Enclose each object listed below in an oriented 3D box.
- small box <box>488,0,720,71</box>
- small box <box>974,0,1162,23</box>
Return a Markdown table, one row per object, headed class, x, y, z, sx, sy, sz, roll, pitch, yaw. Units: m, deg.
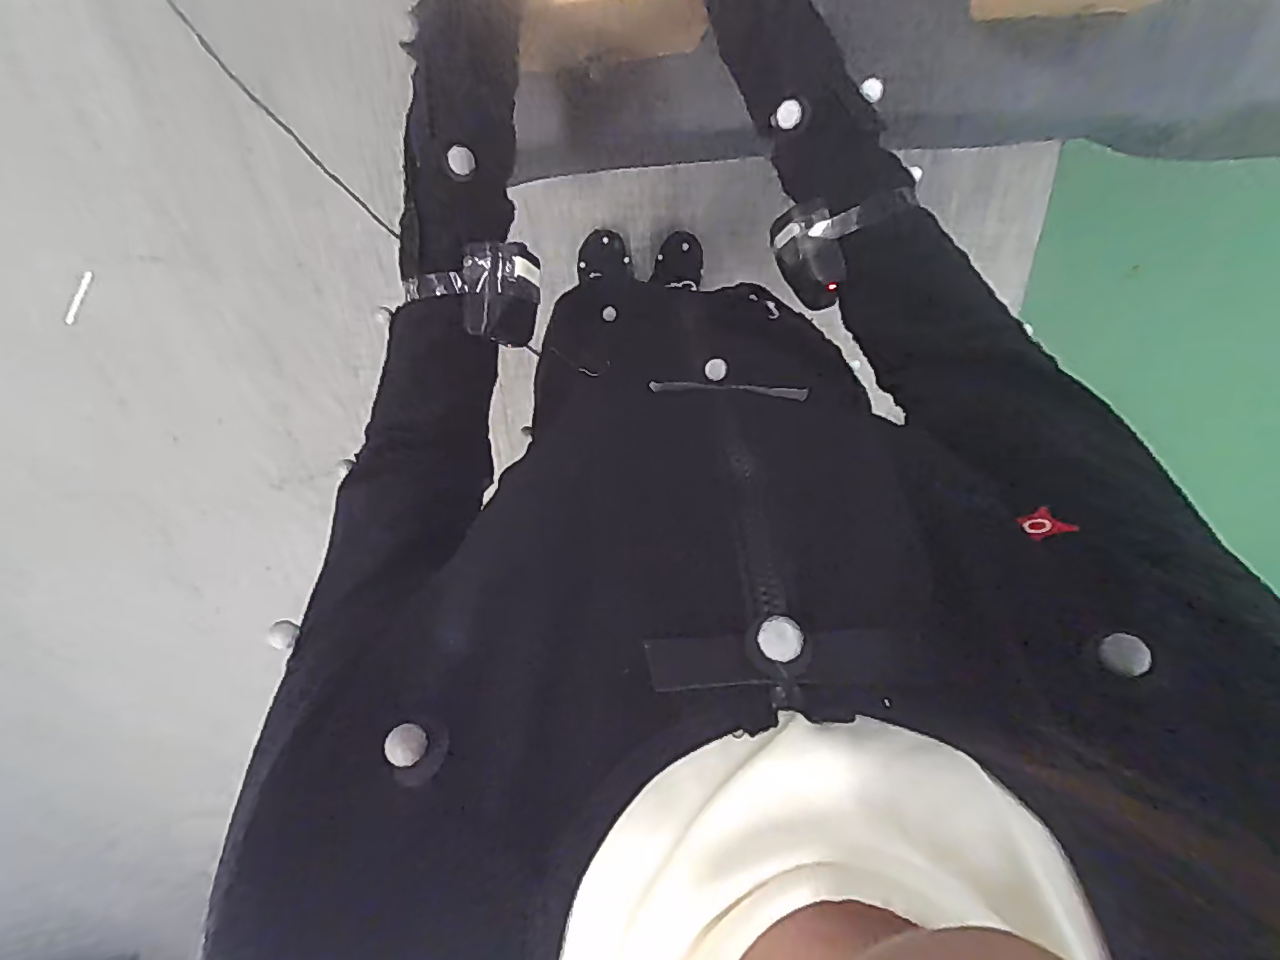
| class | x | y | z | sx | sy | sz | roll | pitch | yaw |
| --- | --- | --- | --- | --- | --- | --- | --- | --- | --- |
| small box | -0.035 | -0.416 | 0.371 | 0.168 | 0.176 | 0.179 | -6 | 115 | -1 |
| small box | 0.388 | -0.482 | 0.404 | 0.168 | 0.176 | 0.179 | -5 | 116 | -3 |
